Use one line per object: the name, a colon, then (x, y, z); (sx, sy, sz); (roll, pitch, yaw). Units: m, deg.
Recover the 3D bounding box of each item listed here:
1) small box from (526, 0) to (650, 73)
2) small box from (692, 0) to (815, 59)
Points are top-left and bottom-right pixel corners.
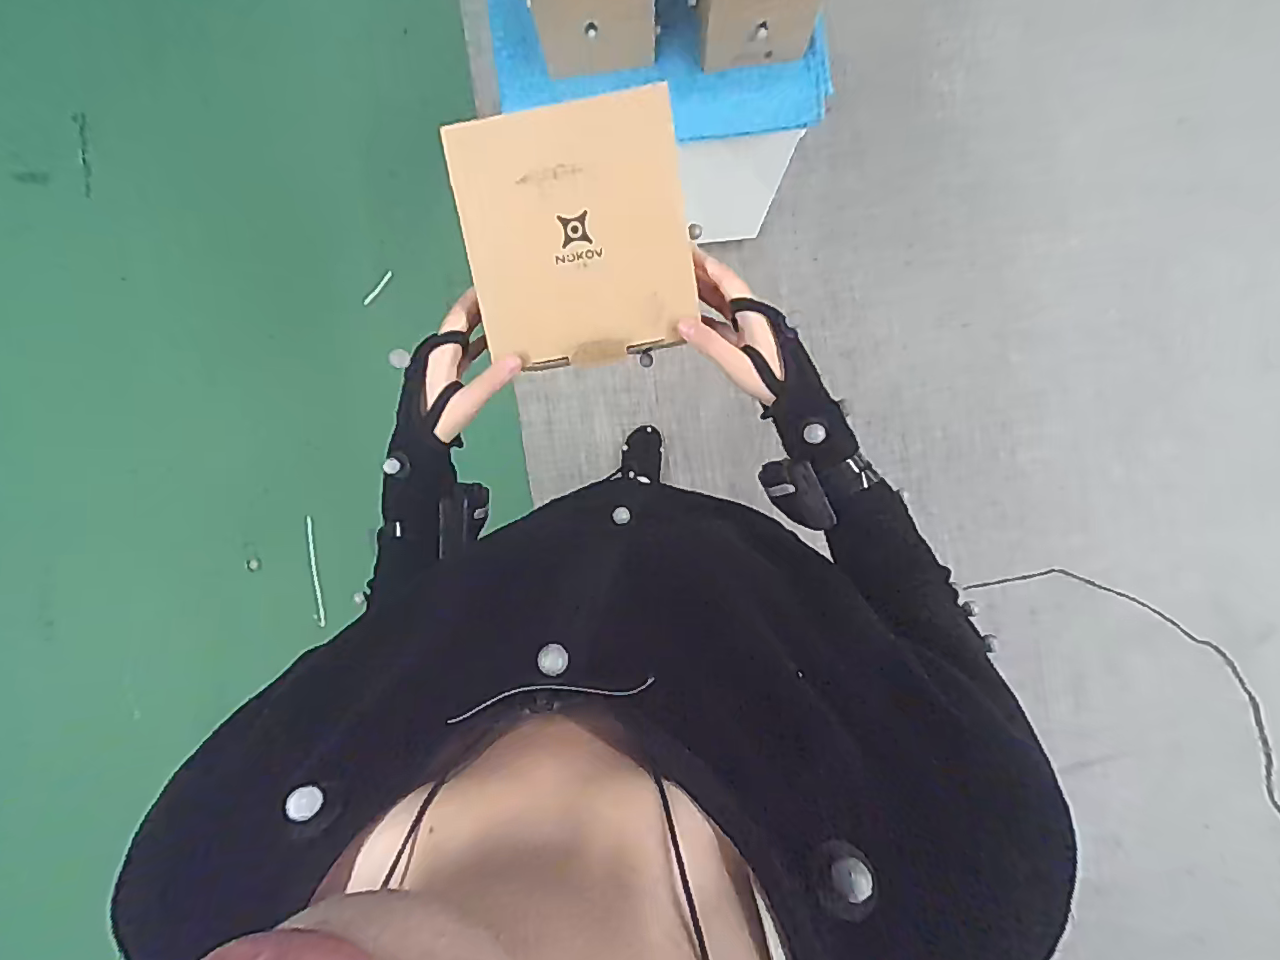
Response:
small box: (-0.078, -0.746, 0.794); (0.179, 0.176, 0.168); (-7, 91, 2)
small box: (0.165, -0.757, 0.787); (0.168, 0.176, 0.179); (-7, 92, 2)
